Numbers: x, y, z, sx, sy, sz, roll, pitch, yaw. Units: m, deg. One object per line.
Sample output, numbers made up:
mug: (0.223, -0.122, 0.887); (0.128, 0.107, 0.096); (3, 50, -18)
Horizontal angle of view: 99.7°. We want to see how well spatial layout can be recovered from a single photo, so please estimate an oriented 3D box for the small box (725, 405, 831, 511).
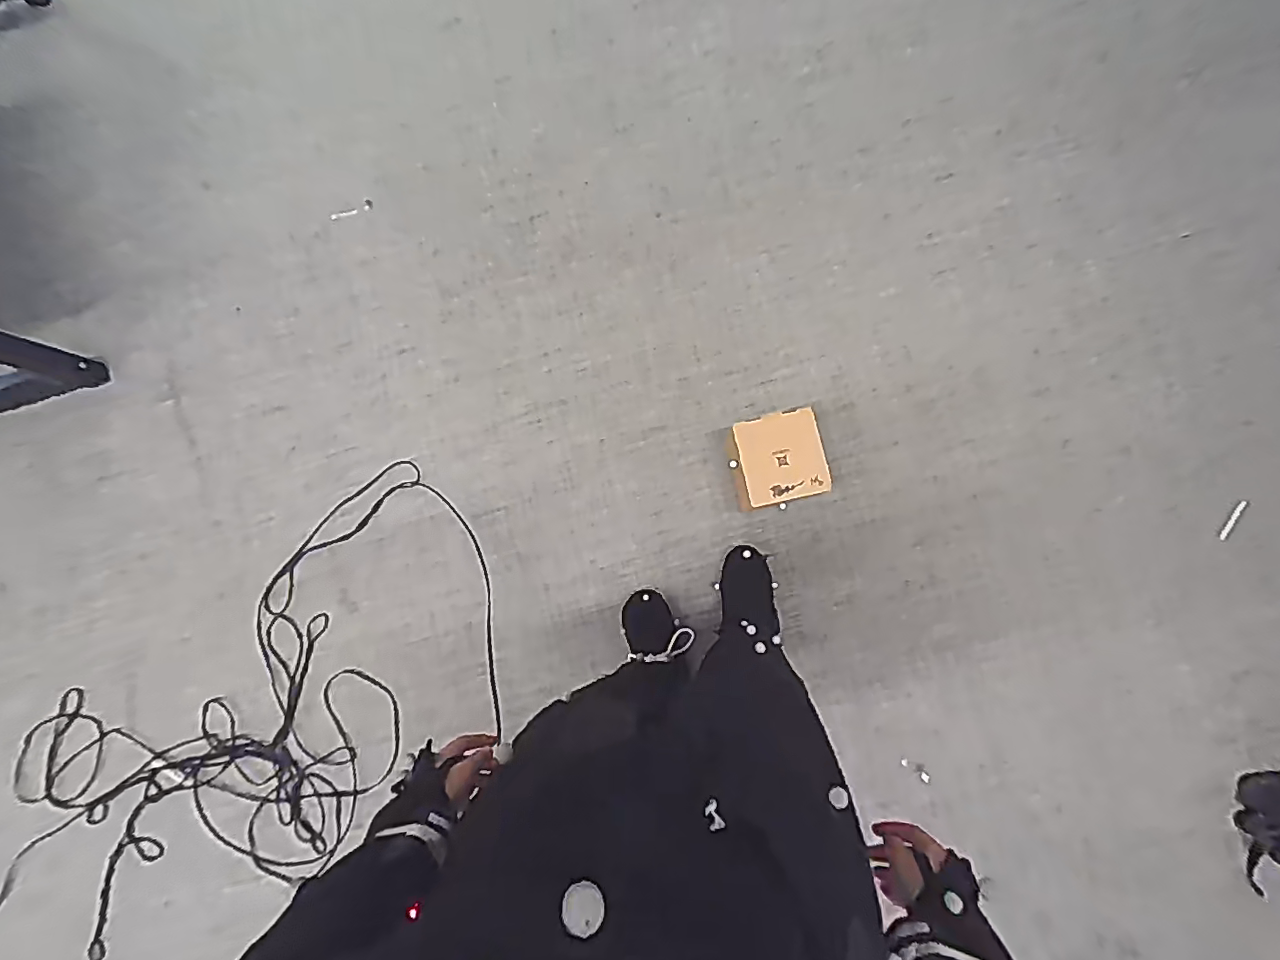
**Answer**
small box: (0.283, -0.040, 1.150); (0.168, 0.176, 0.179); (-13, 82, 2)
